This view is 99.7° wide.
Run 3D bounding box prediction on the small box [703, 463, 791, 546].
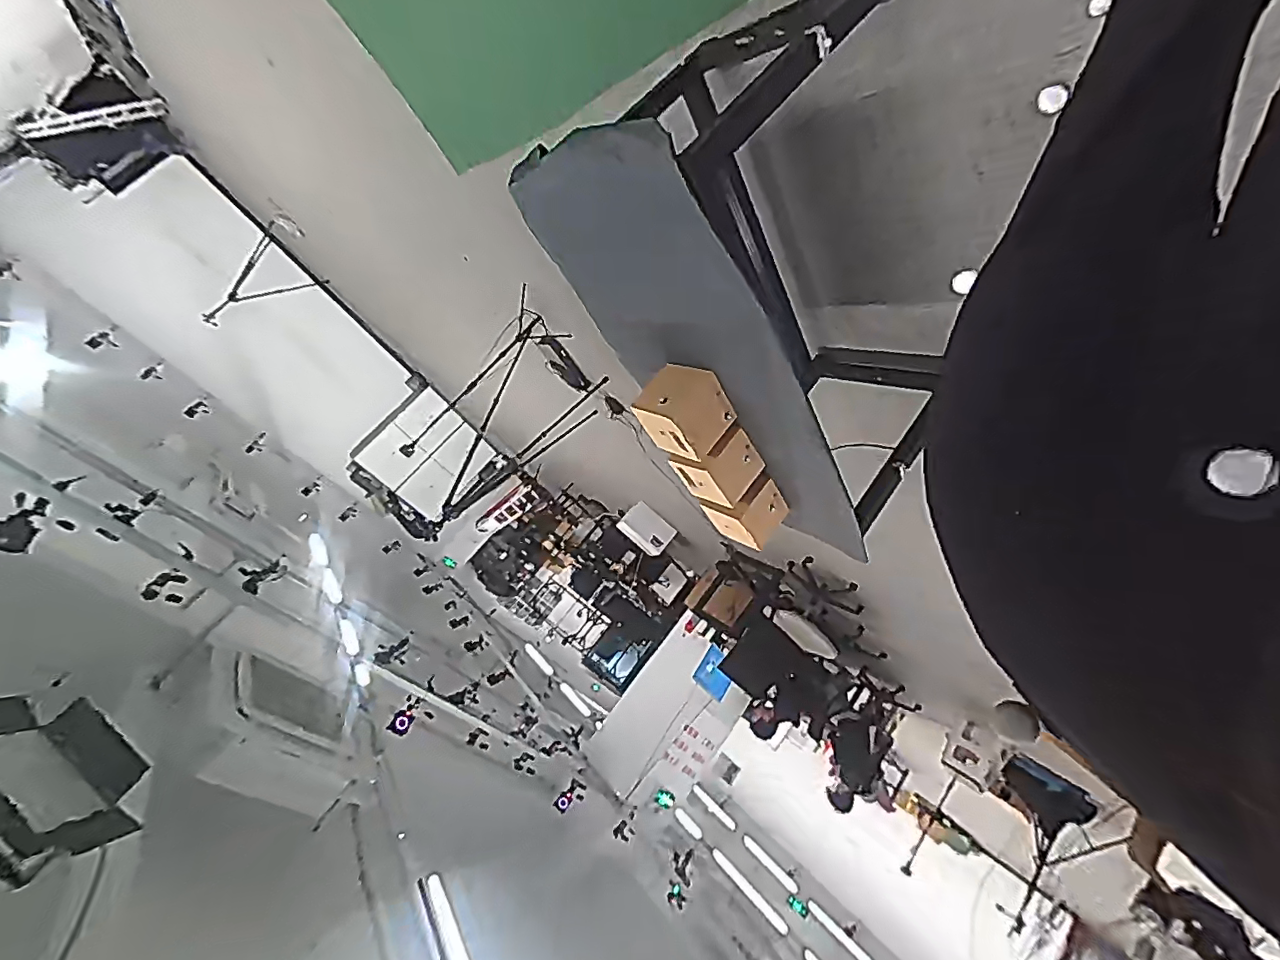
[{"bbox_3d":[0.335,0.069,1.680,0.179,0.176,0.168,22,158,50],"label":"small box"}]
